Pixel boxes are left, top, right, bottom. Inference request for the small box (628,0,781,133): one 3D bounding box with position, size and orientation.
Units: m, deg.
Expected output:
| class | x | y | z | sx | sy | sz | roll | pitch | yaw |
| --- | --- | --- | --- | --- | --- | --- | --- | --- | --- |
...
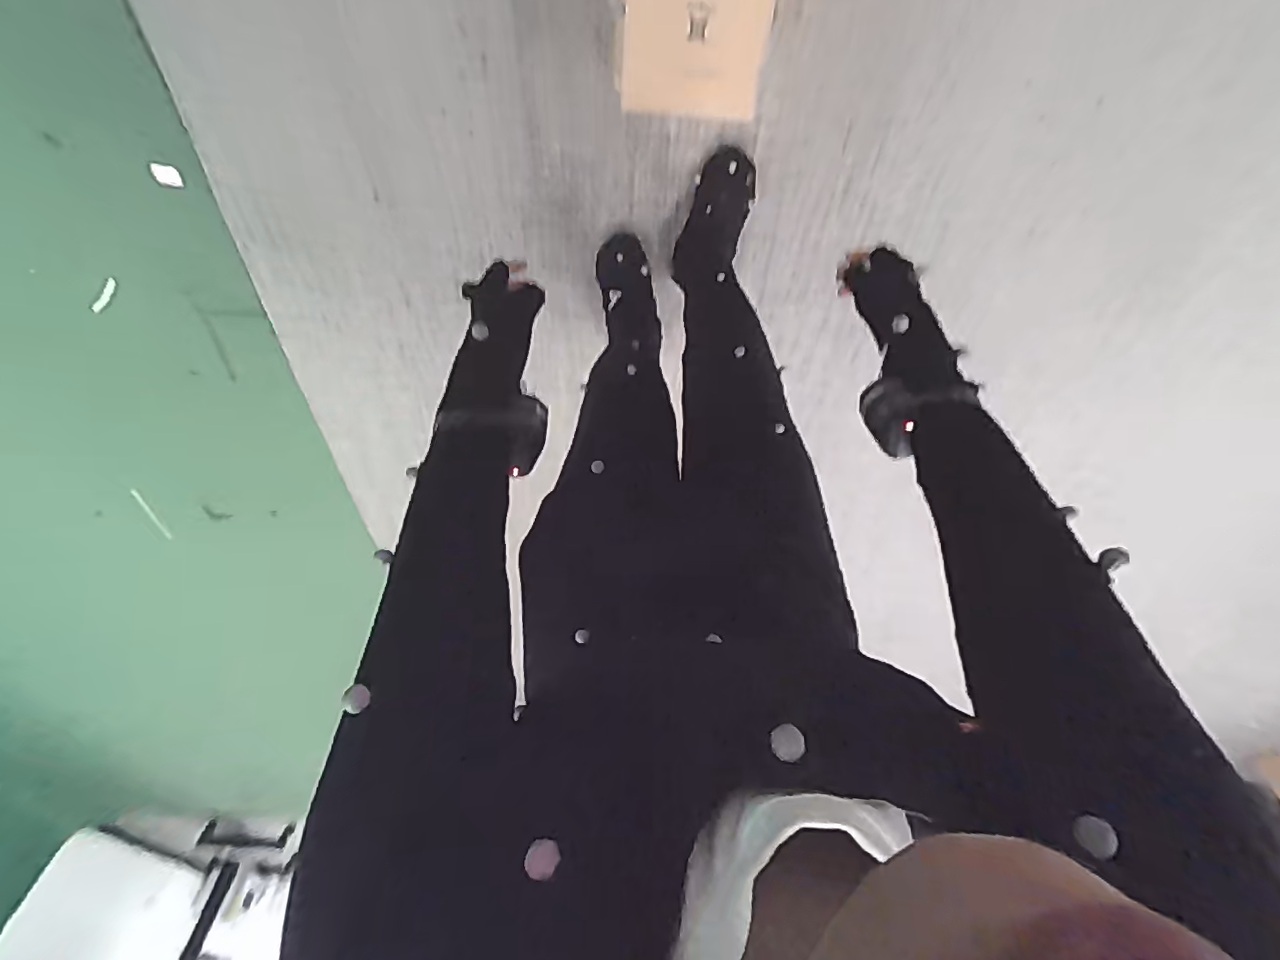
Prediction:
| class | x | y | z | sx | sy | sz | roll | pitch | yaw |
| --- | --- | --- | --- | --- | --- | --- | --- | --- | --- |
| small box | 0.074 | -0.561 | 0.680 | 0.168 | 0.176 | 0.179 | 5 | 134 | 0 |
